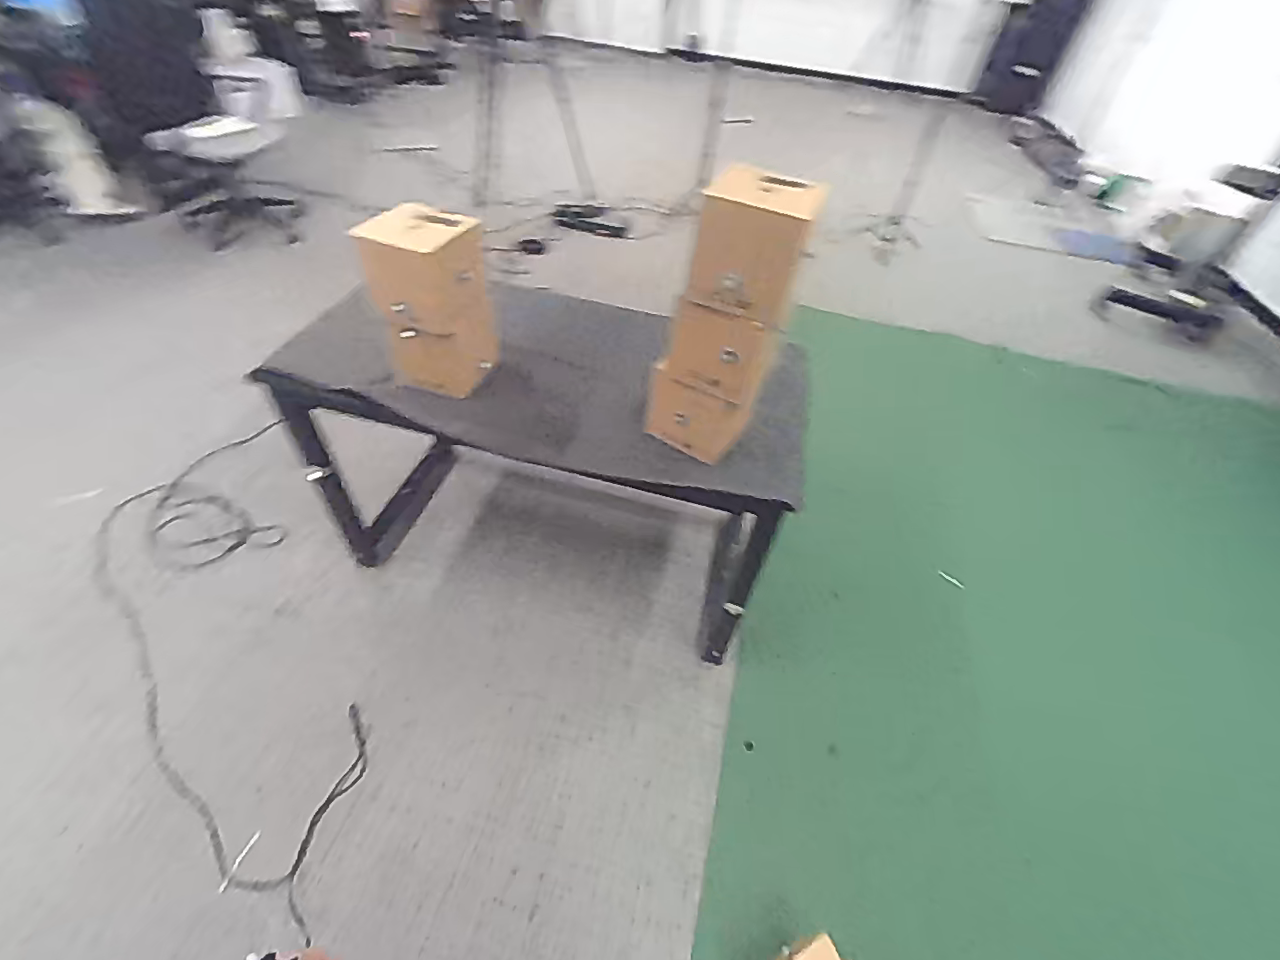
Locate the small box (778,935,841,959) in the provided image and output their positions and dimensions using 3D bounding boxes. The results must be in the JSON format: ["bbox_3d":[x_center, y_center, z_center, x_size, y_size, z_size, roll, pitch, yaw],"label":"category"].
[{"bbox_3d":[0.318,1.013,1.023,0.179,0.176,0.168,-19,51,-23],"label":"small box"}]

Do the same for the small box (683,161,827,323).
[{"bbox_3d":[0.179,-0.380,0.864,0.168,0.176,0.179,21,47,13],"label":"small box"}]

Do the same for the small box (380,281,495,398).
[{"bbox_3d":[-0.431,-0.307,1.187,0.168,0.176,0.179,14,45,7],"label":"small box"}]

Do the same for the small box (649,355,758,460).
[{"bbox_3d":[0.130,-0.170,1.110,0.168,0.176,0.179,29,48,20],"label":"small box"}]

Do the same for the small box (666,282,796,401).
[{"bbox_3d":[0.159,-0.272,0.986,0.168,0.176,0.179,26,47,16],"label":"small box"}]
